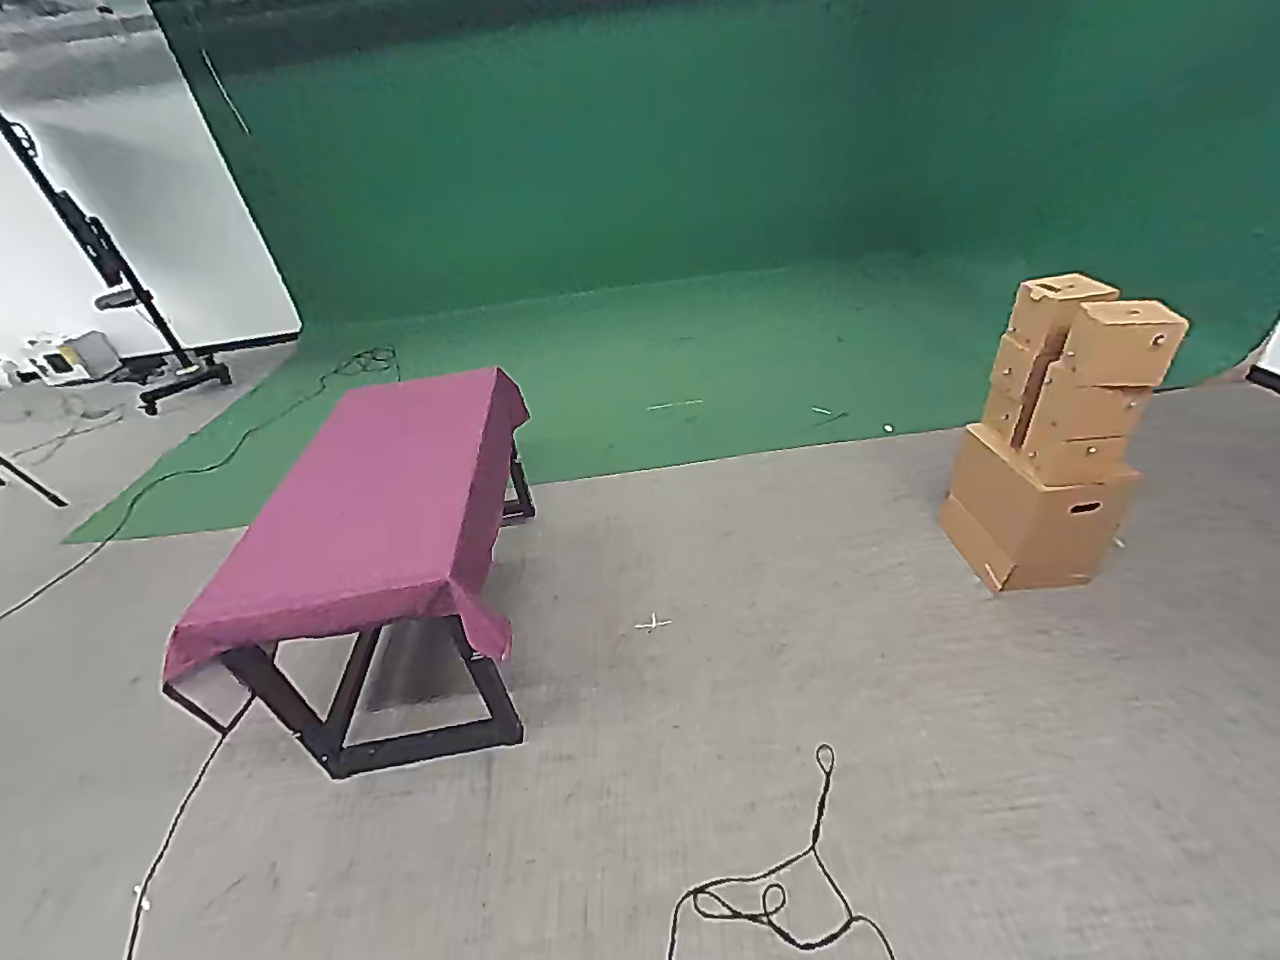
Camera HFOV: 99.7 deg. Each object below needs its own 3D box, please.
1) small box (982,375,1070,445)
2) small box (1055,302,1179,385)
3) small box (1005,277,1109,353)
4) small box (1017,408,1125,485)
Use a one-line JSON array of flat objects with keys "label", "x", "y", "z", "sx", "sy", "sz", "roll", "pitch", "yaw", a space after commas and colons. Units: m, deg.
[{"label": "small box", "x": 1.287, "y": -0.233, "z": 1.822, "sx": 0.179, "sy": 0.176, "sz": 0.168, "roll": -8, "pitch": 37, "yaw": 2}, {"label": "small box", "x": 1.245, "y": -0.358, "z": 1.428, "sx": 0.179, "sy": 0.176, "sz": 0.168, "roll": 3, "pitch": 36, "yaw": 16}, {"label": "small box", "x": 1.239, "y": -0.494, "z": 1.628, "sx": 0.179, "sy": 0.176, "sz": 0.168, "roll": -8, "pitch": 37, "yaw": 0}, {"label": "small box", "x": 1.285, "y": -0.099, "z": 1.628, "sx": 0.179, "sy": 0.176, "sz": 0.168, "roll": -5, "pitch": 34, "yaw": 7}]
